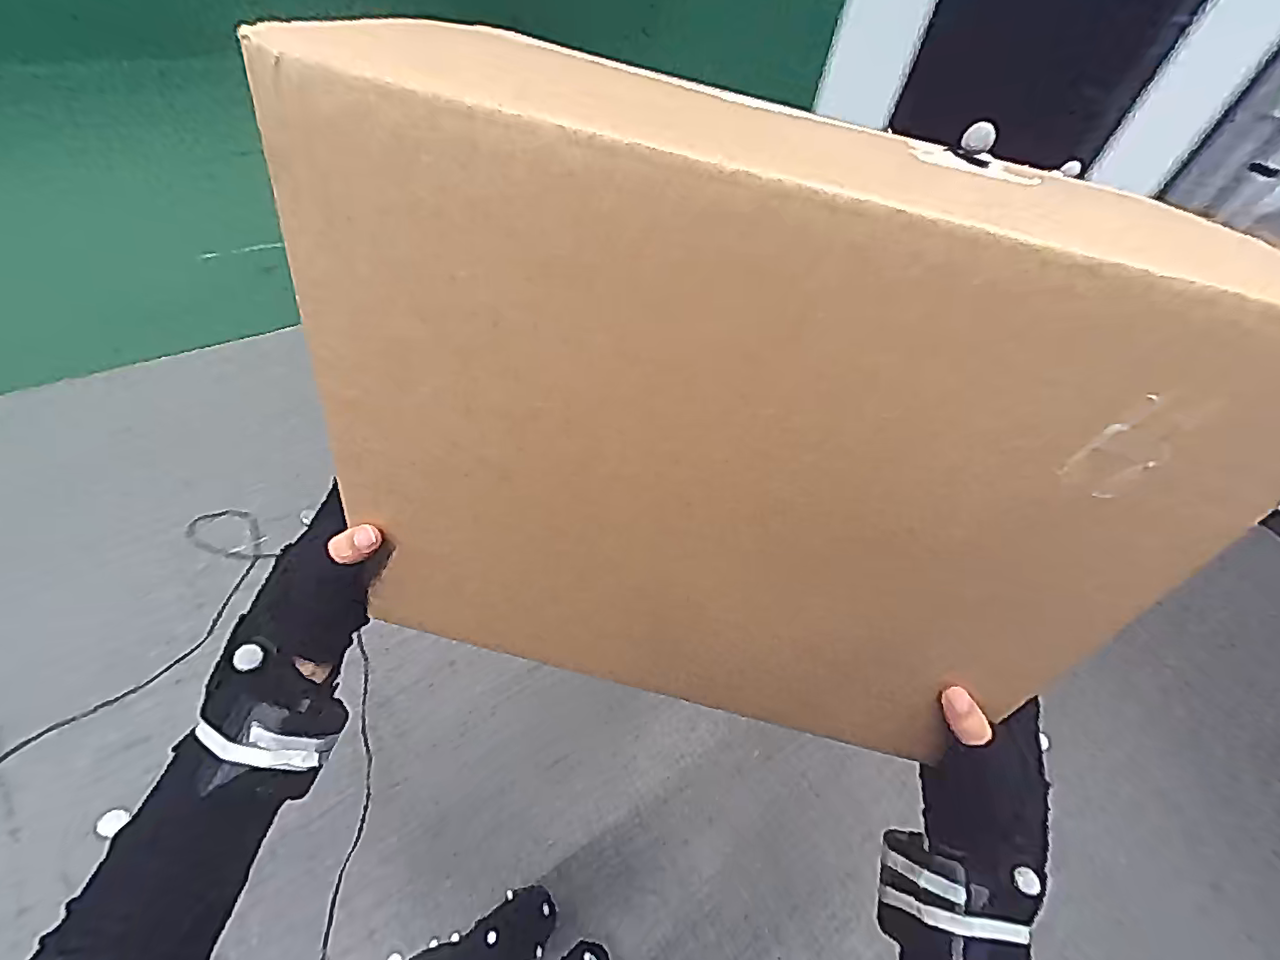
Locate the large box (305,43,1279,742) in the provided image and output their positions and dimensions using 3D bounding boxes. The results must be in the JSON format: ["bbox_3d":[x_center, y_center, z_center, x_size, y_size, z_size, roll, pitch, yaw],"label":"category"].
[{"bbox_3d":[0.065,-0.065,0.392,0.408,0.320,0.320,15,40,-2],"label":"large box"}]
